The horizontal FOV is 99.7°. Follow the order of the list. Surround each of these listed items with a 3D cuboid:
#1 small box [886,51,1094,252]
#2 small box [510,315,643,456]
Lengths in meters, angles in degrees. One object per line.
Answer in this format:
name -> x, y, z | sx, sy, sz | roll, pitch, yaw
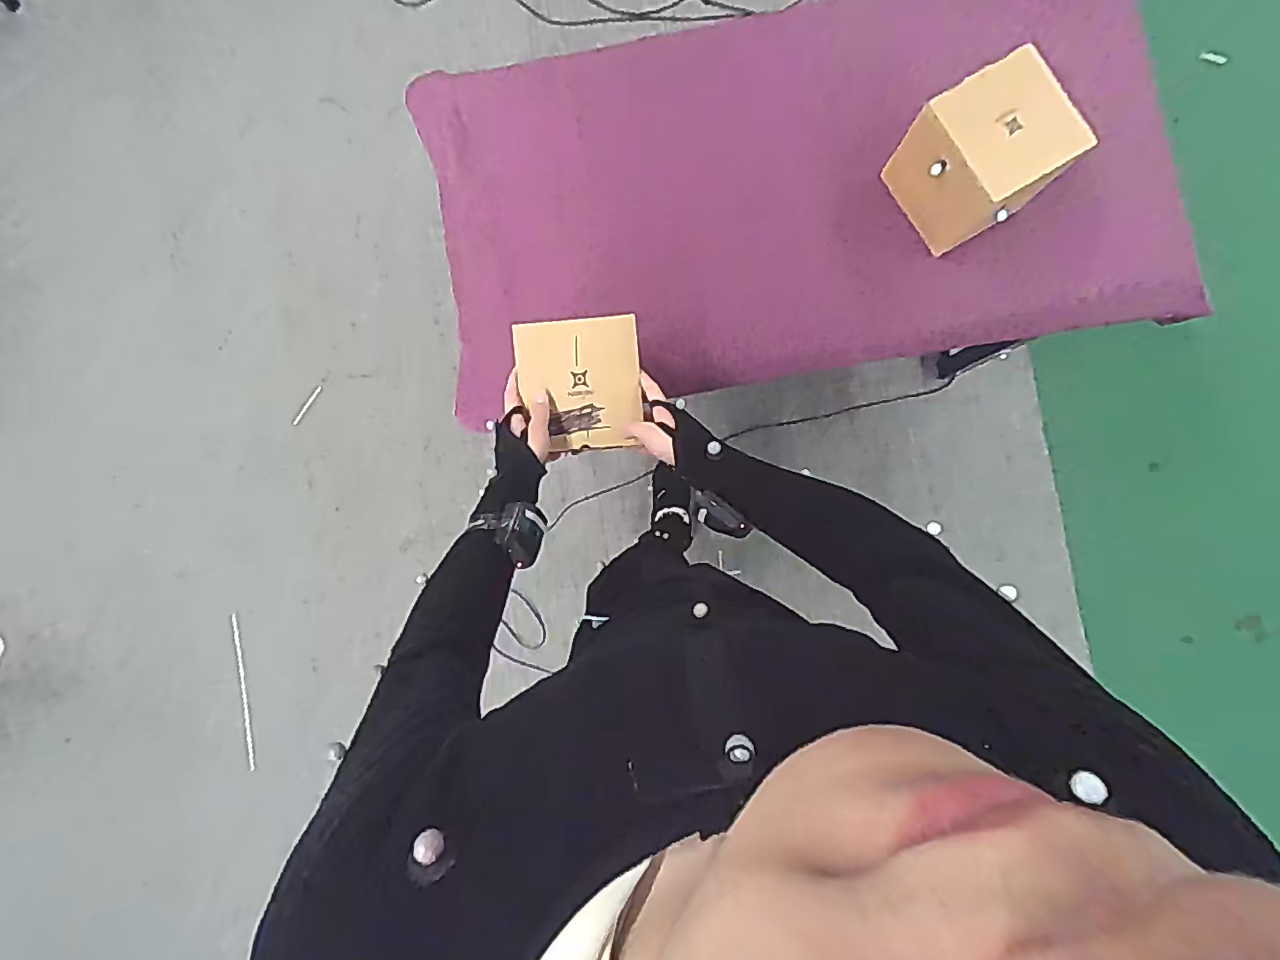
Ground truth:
small box -> 0.517, -0.481, 0.828 | 0.168, 0.176, 0.179 | -30, 85, 1
small box -> -0.082, -0.133, 0.792 | 0.168, 0.176, 0.179 | -4, 96, 0
